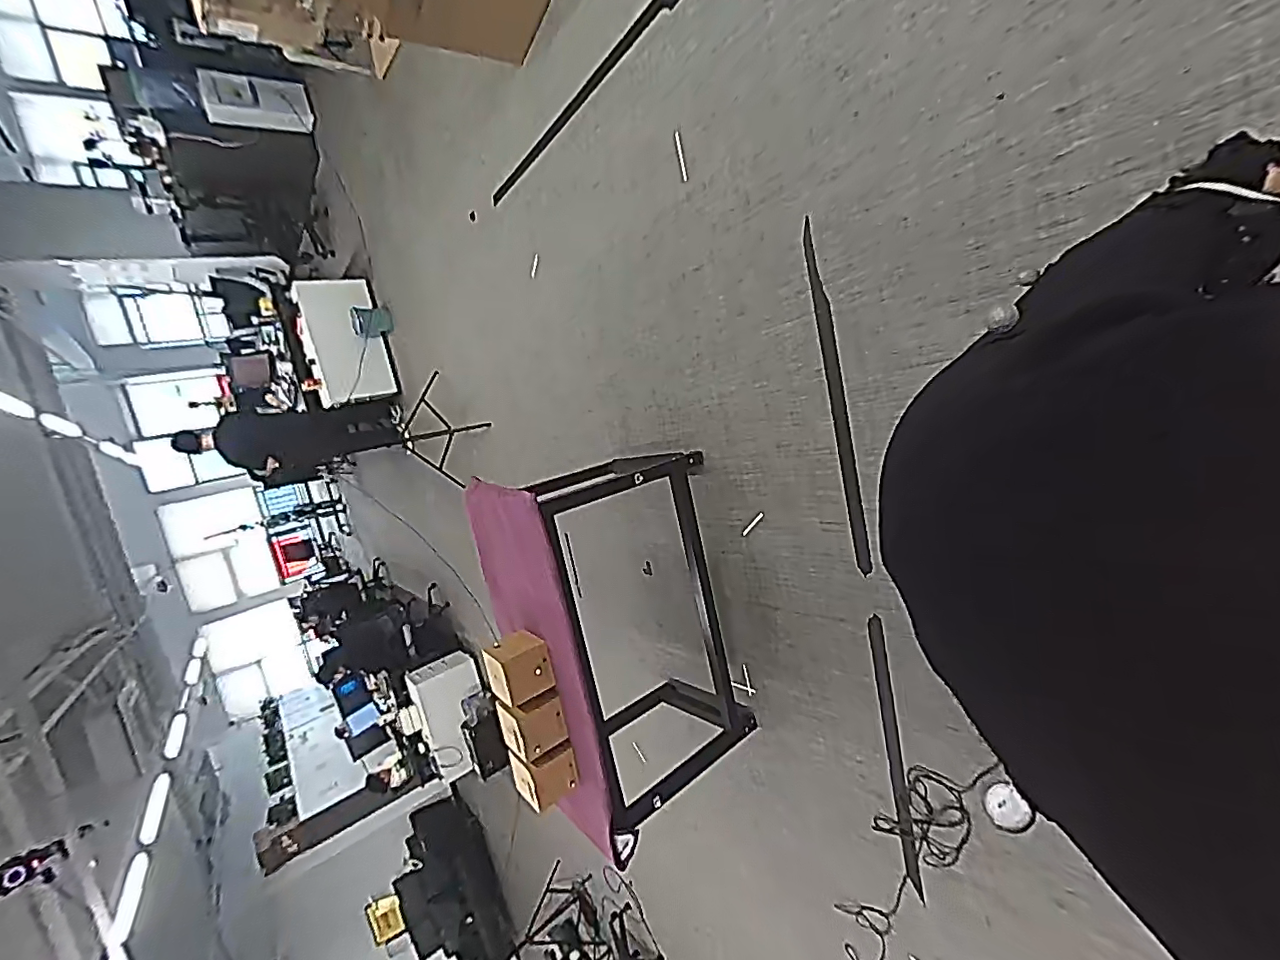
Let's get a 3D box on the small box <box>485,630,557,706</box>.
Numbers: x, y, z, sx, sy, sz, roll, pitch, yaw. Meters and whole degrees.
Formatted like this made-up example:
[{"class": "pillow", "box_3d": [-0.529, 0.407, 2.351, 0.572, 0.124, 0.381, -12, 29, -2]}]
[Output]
[{"class": "small box", "box_3d": [-0.409, 0.638, 1.863, 0.179, 0.176, 0.168, 3, 108, 53]}]
